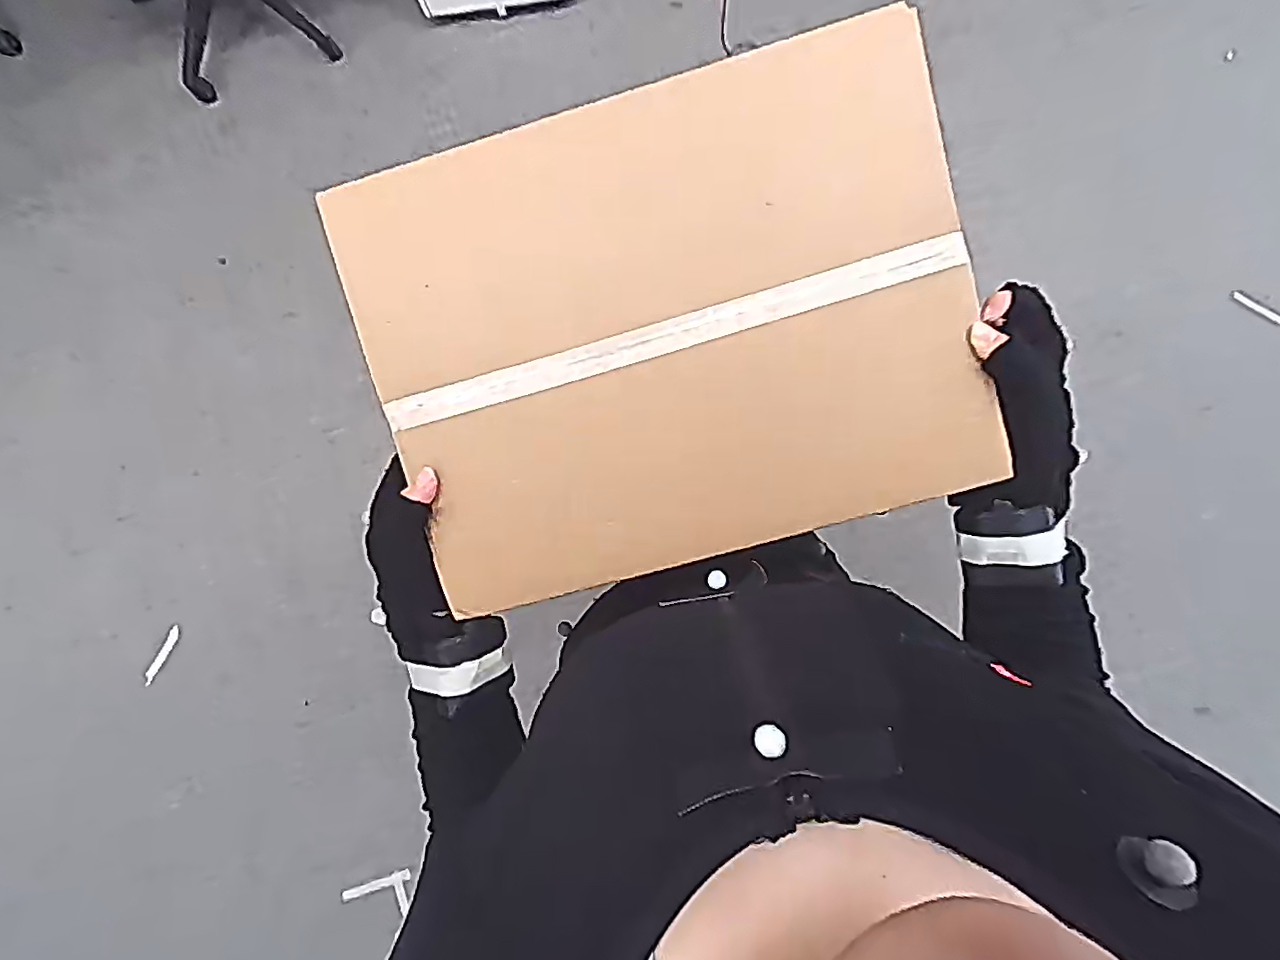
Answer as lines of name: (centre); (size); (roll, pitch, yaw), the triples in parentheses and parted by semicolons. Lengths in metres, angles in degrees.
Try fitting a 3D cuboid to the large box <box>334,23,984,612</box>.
large box: (0.022, -0.117, 0.528); (0.408, 0.320, 0.320); (-16, 95, 4)
